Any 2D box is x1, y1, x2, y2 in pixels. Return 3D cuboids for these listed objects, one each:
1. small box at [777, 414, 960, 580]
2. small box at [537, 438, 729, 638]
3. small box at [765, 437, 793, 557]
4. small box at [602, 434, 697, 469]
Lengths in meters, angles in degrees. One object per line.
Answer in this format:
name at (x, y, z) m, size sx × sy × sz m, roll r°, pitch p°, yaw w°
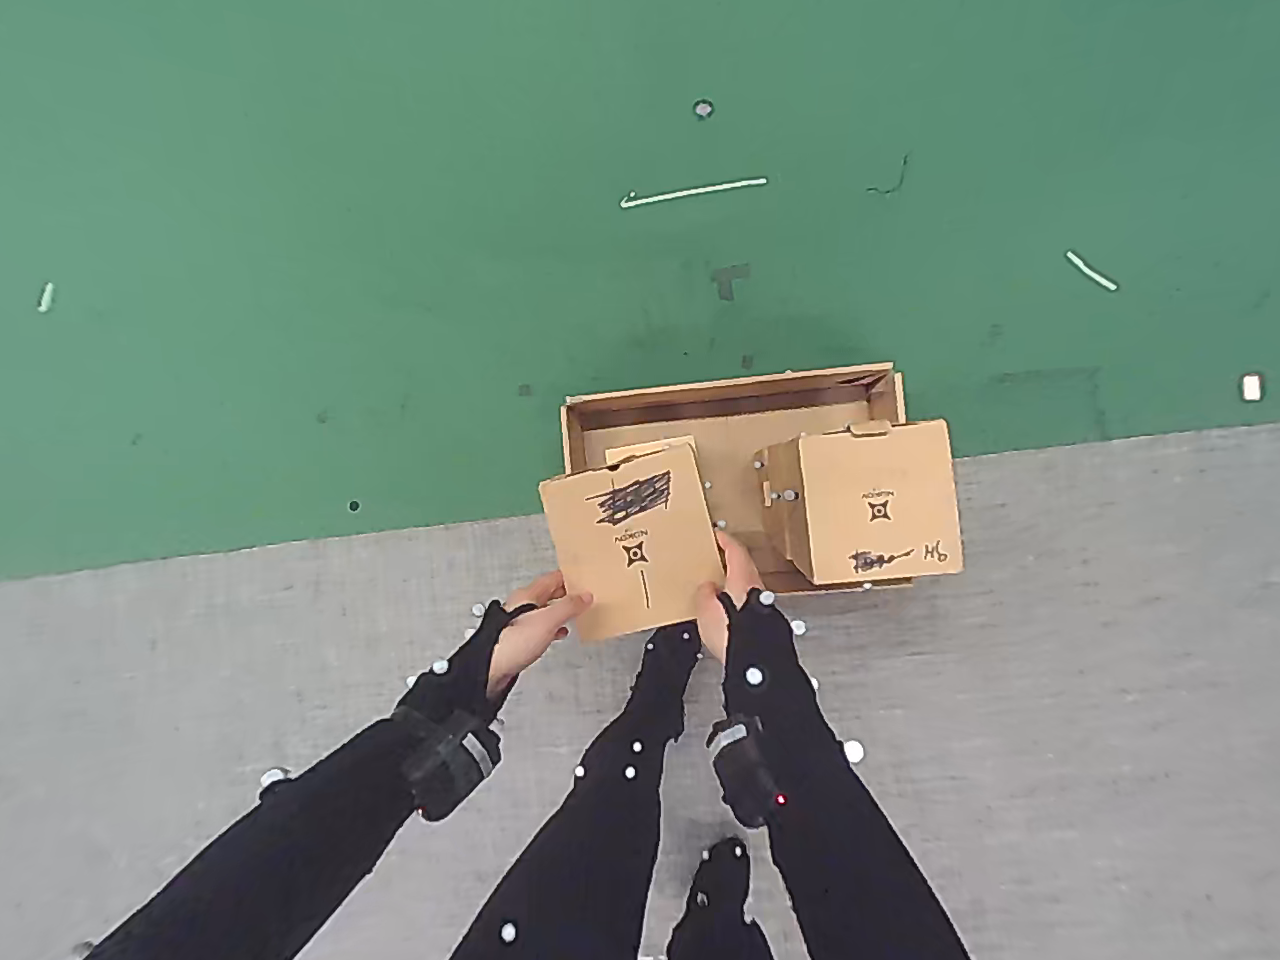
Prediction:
small box at (0.274, 0.022, 0.688) m, size 0.168 × 0.176 × 0.179 m, roll -6°, pitch 89°, yaw 7°
small box at (-0.001, 0.061, 0.631) m, size 0.168 × 0.176 × 0.179 m, roll -16°, pitch 89°, yaw 7°
small box at (0.293, 0.020, 0.852) m, size 0.168 × 0.176 × 0.179 m, roll -4°, pitch 91°, yaw 7°
small box at (0.029, 0.016, 1.044) m, size 0.168 × 0.176 × 0.179 m, roll -10°, pitch 90°, yaw 5°
